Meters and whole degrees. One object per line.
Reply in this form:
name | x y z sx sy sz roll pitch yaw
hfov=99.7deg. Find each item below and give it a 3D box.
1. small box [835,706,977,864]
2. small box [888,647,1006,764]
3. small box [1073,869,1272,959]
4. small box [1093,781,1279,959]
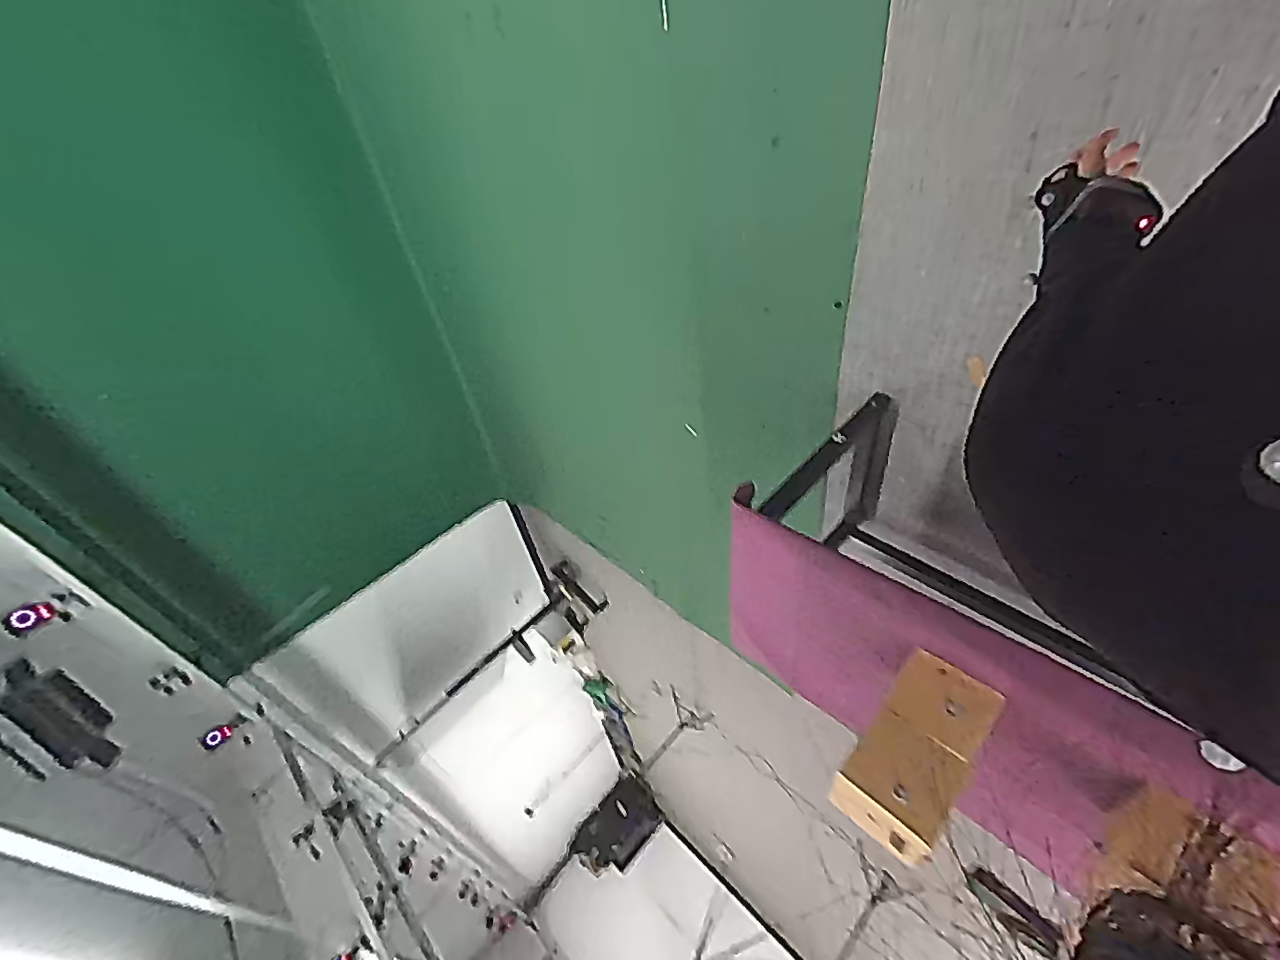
small box | 0.499 0.569 1.022 0.179 0.176 0.168 31 147 34
small box | 0.611 0.477 1.098 0.168 0.176 0.179 28 146 37
small box | 0.773 0.718 0.792 0.168 0.176 0.179 30 145 35
small box | 0.888 0.636 0.875 0.168 0.176 0.179 28 144 36
